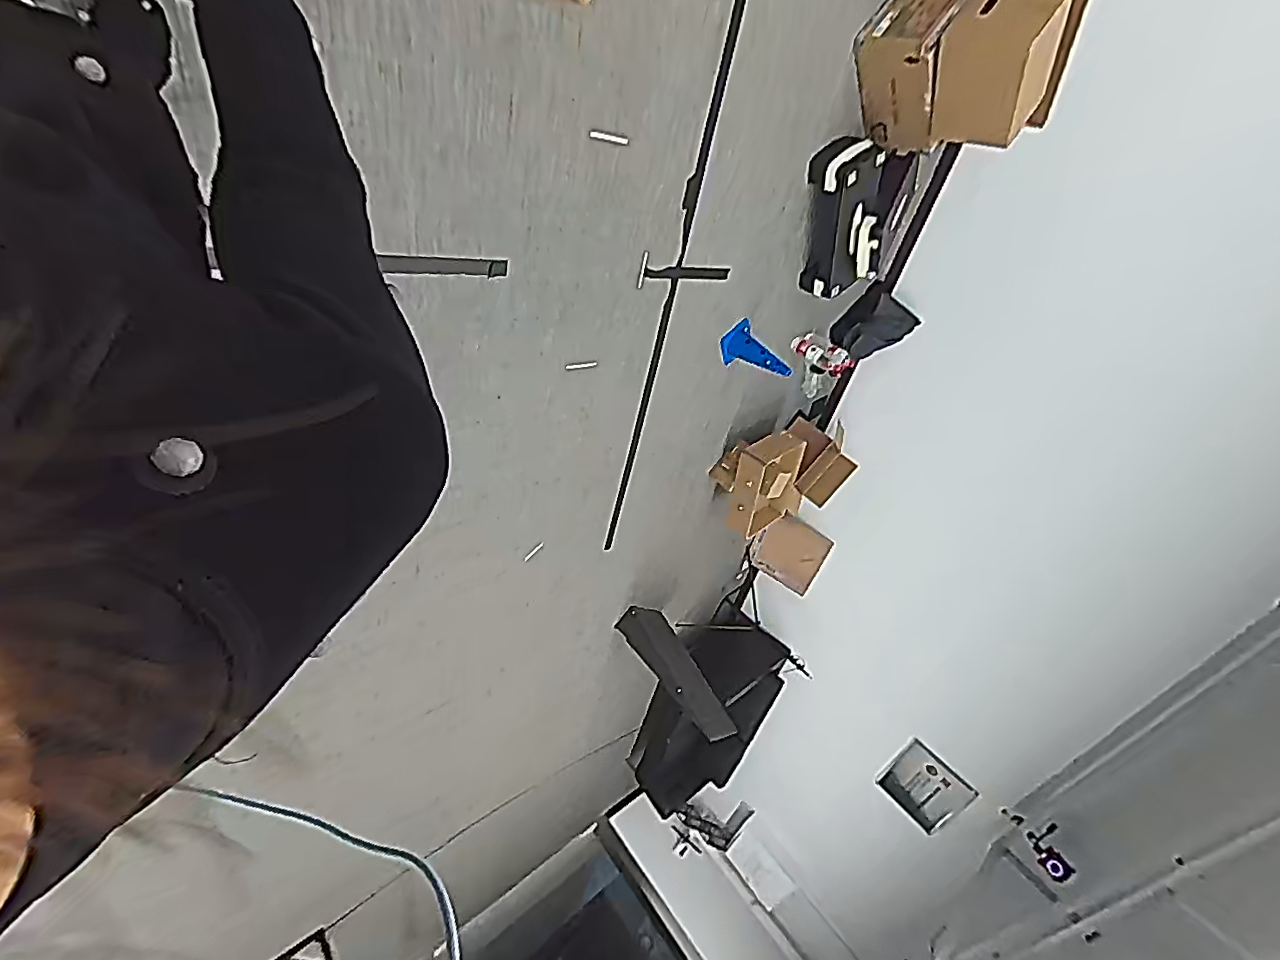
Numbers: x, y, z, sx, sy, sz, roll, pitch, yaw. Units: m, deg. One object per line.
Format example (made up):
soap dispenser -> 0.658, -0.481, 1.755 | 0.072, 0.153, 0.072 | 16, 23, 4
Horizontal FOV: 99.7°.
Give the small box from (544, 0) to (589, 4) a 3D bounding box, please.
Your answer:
small box -> -0.149, -0.670, 0.594 | 0.168, 0.176, 0.179 | -12, 132, -41
